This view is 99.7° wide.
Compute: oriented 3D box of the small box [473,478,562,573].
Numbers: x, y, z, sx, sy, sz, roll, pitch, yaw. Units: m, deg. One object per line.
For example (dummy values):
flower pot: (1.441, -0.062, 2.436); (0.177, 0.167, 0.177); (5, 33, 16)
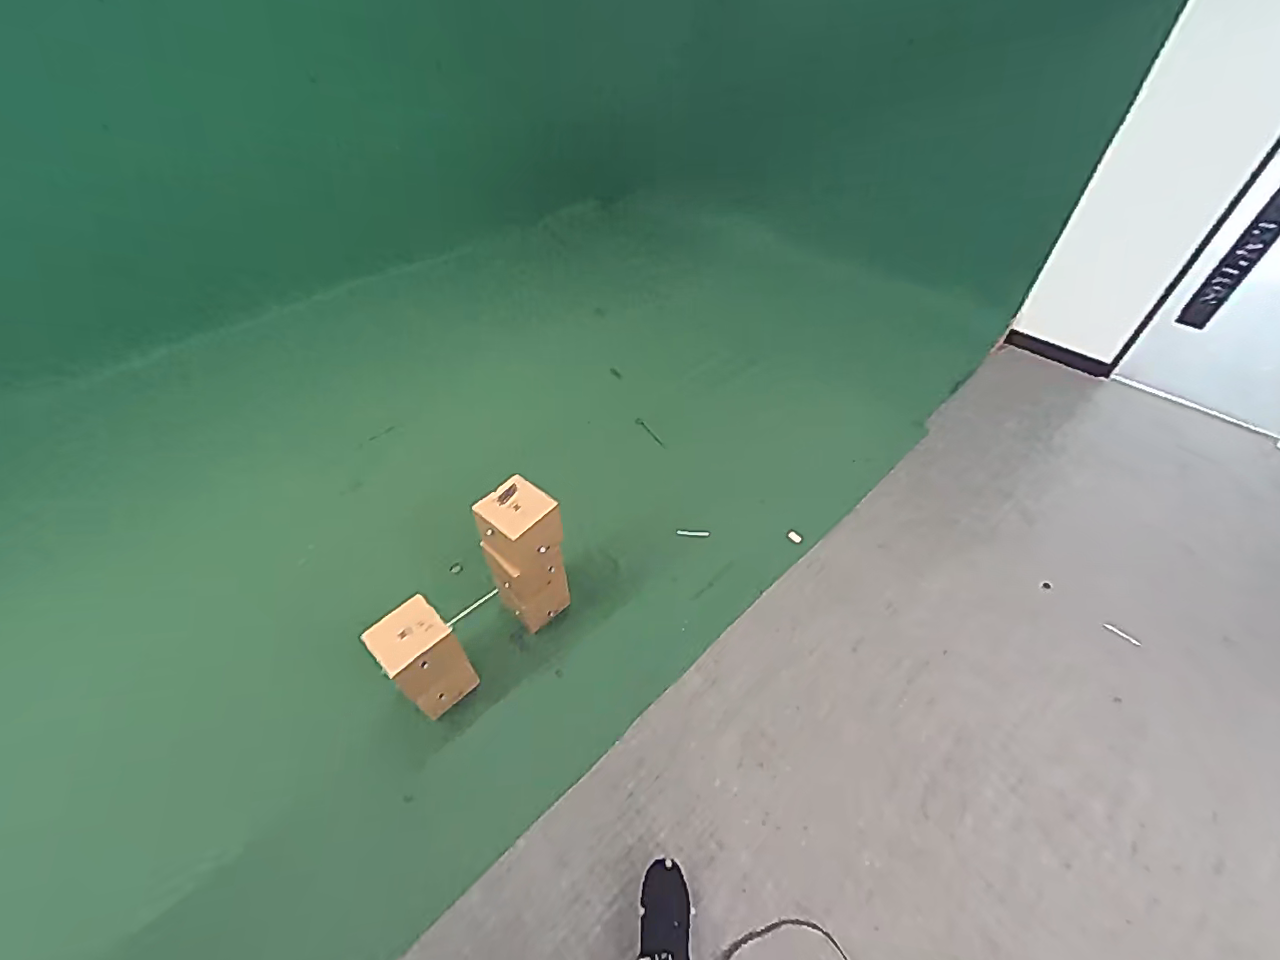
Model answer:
small box: (-0.341, 0.133, 1.534); (0.179, 0.176, 0.168); (32, 55, 25)

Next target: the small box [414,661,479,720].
small box: (-0.598, 0.571, 1.581); (0.179, 0.176, 0.168); (35, 57, 30)

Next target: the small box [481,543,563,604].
small box: (-0.351, 0.252, 1.646); (0.179, 0.176, 0.168); (36, 56, 29)

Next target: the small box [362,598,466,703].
small box: (-0.601, 0.462, 1.457); (0.168, 0.176, 0.179); (35, 57, 29)
